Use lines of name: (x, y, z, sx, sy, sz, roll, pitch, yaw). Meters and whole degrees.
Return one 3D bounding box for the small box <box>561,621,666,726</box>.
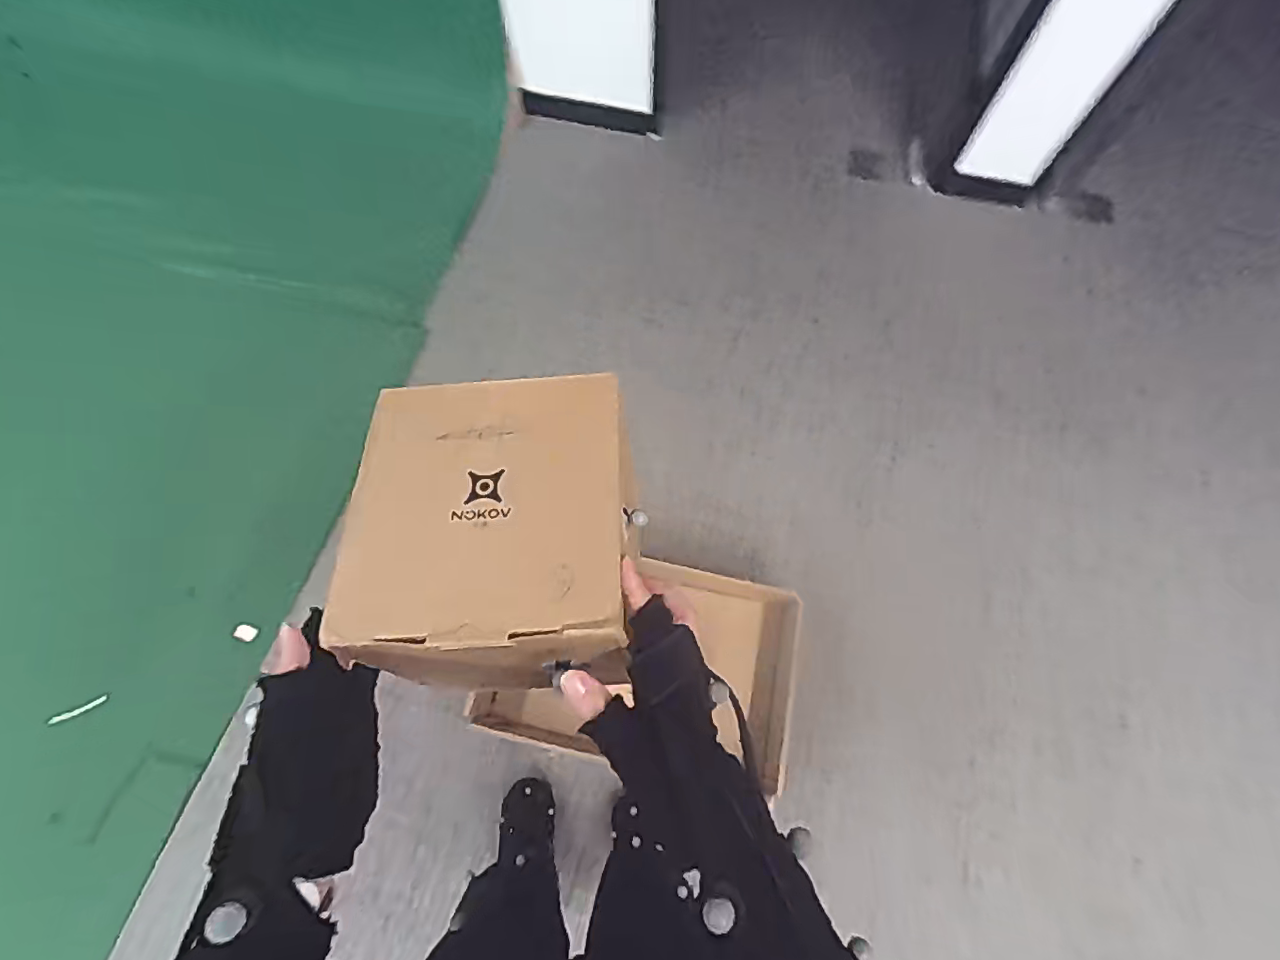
small box: (-0.048, 0.400, 1.120, 0.179, 0.176, 0.168, 10, 68, 6)
